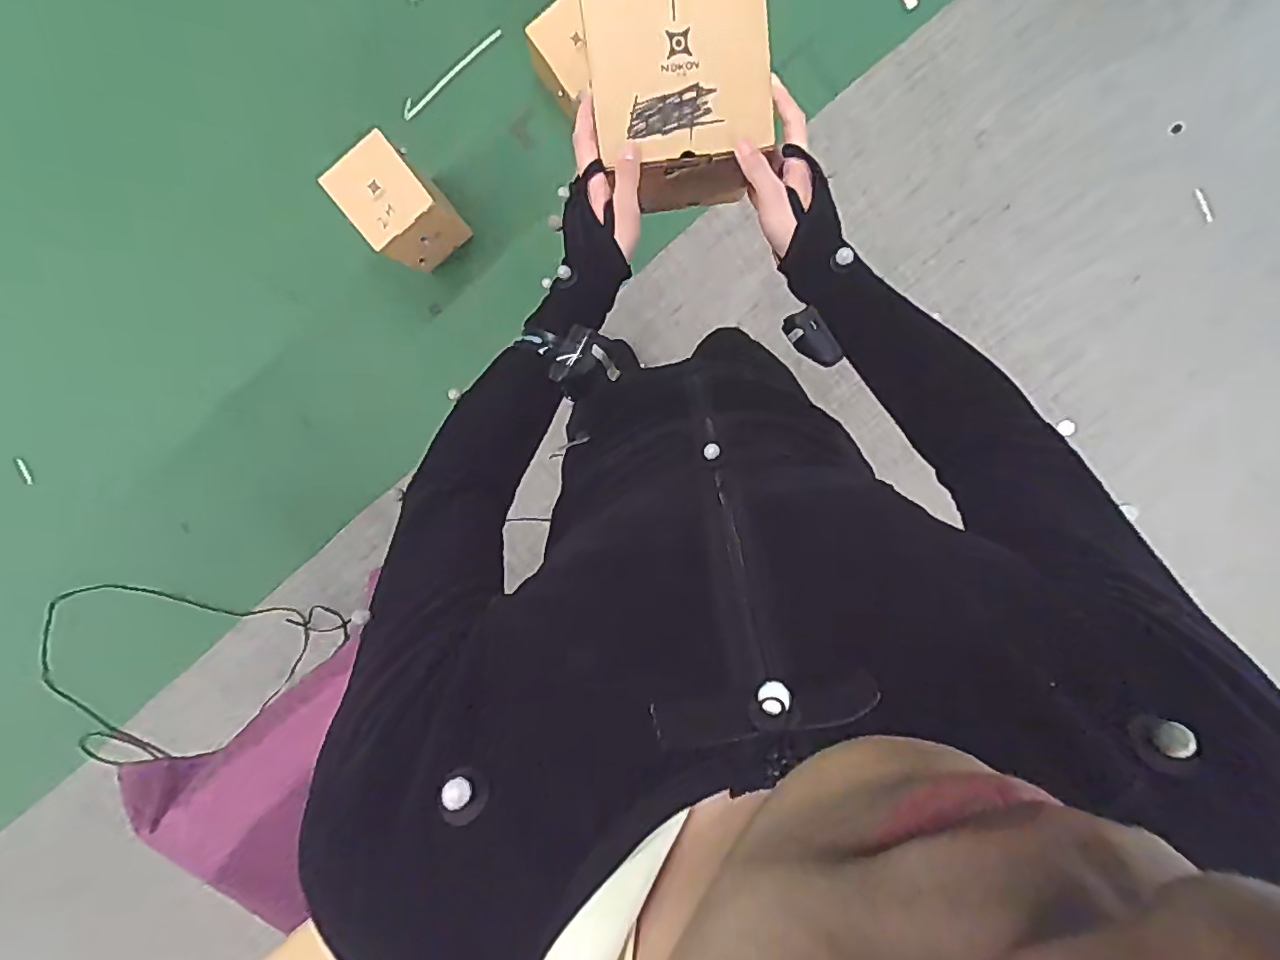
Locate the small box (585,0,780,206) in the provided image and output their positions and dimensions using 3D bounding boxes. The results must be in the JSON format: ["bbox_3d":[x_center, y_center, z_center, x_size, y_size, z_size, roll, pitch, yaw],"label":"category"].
[{"bbox_3d":[0.038,-0.399,0.557,0.168,0.176,0.179,-7,101,0],"label":"small box"}]

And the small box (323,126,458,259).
[{"bbox_3d":[-0.534,-0.614,1.183,0.168,0.176,0.179,-36,103,7],"label":"small box"}]

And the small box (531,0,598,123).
[{"bbox_3d":[-0.134,-1.001,1.281,0.168,0.176,0.179,-38,104,6],"label":"small box"}]
